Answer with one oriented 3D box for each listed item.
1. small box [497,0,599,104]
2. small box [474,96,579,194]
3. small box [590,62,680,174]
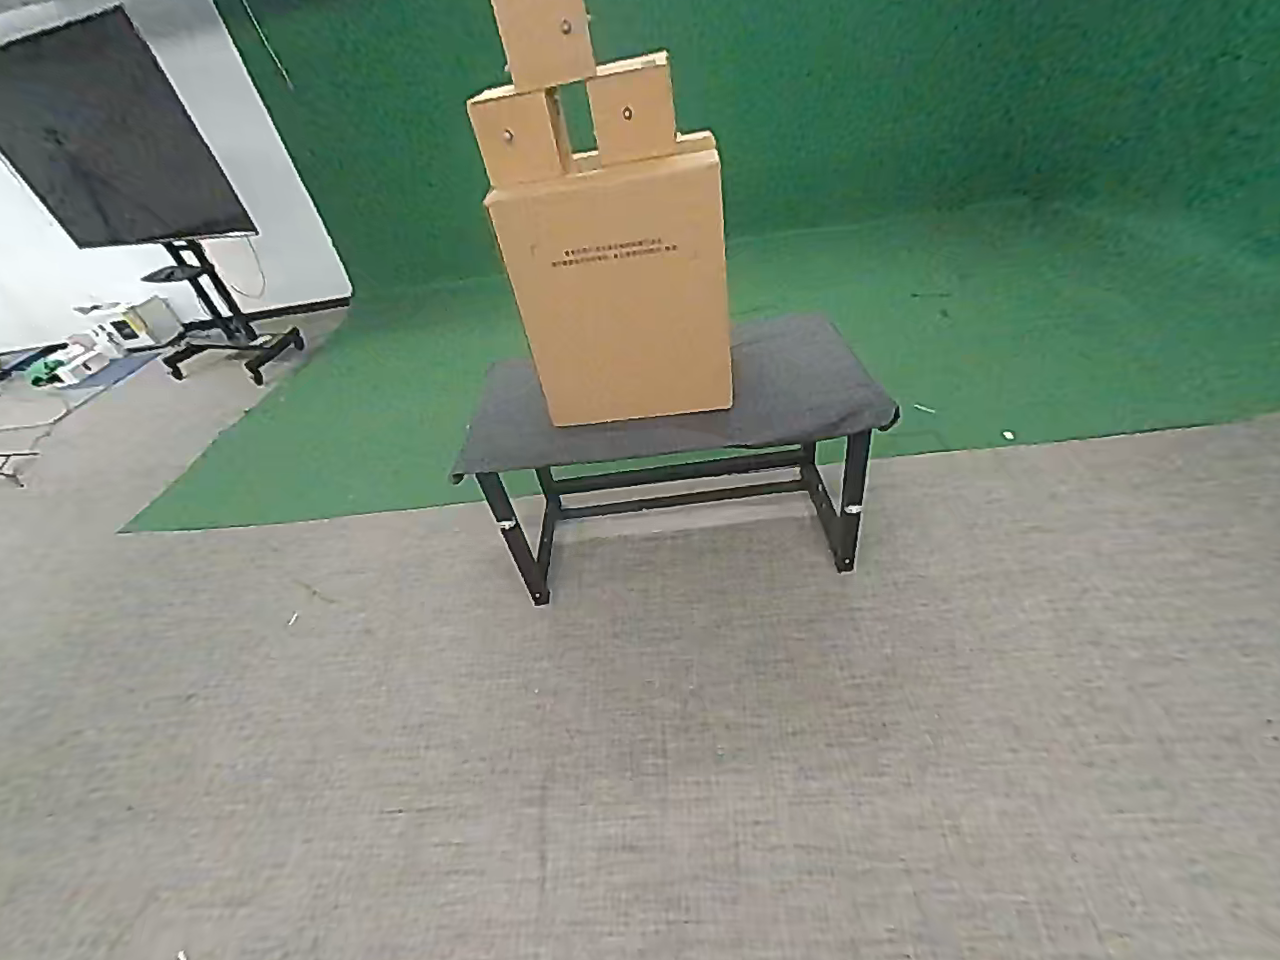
[{"bbox_3d":[-0.186,-0.919,1.145,0.179,0.176,0.168,-13,41,2],"label":"small box"},{"bbox_3d":[-0.257,-0.787,1.263,0.179,0.176,0.168,-4,43,9],"label":"small box"},{"bbox_3d":[-0.003,-0.828,1.242,0.179,0.176,0.168,-5,43,10],"label":"small box"}]
